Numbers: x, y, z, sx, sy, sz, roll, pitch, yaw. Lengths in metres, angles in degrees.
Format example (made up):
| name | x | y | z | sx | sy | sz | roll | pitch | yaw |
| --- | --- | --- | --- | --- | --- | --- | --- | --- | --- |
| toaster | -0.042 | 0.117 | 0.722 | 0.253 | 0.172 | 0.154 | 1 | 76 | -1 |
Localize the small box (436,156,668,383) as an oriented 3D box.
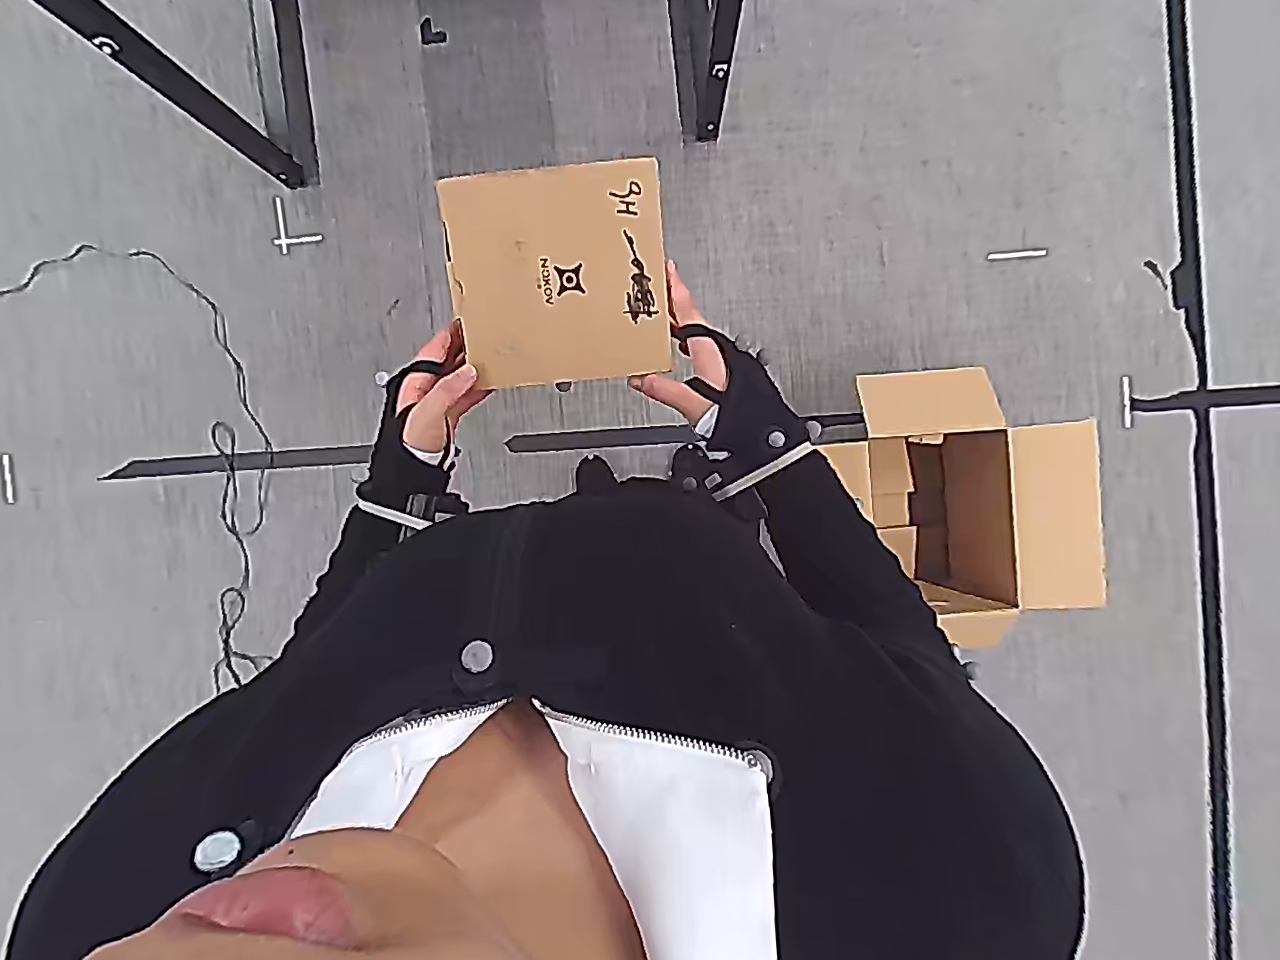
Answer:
| name | x | y | z | sx | sy | sz | roll | pitch | yaw |
| --- | --- | --- | --- | --- | --- | --- | --- | --- | --- |
| small box | -0.067 | -0.184 | 0.515 | 0.179 | 0.176 | 0.168 | -5 | 105 | 1 |
